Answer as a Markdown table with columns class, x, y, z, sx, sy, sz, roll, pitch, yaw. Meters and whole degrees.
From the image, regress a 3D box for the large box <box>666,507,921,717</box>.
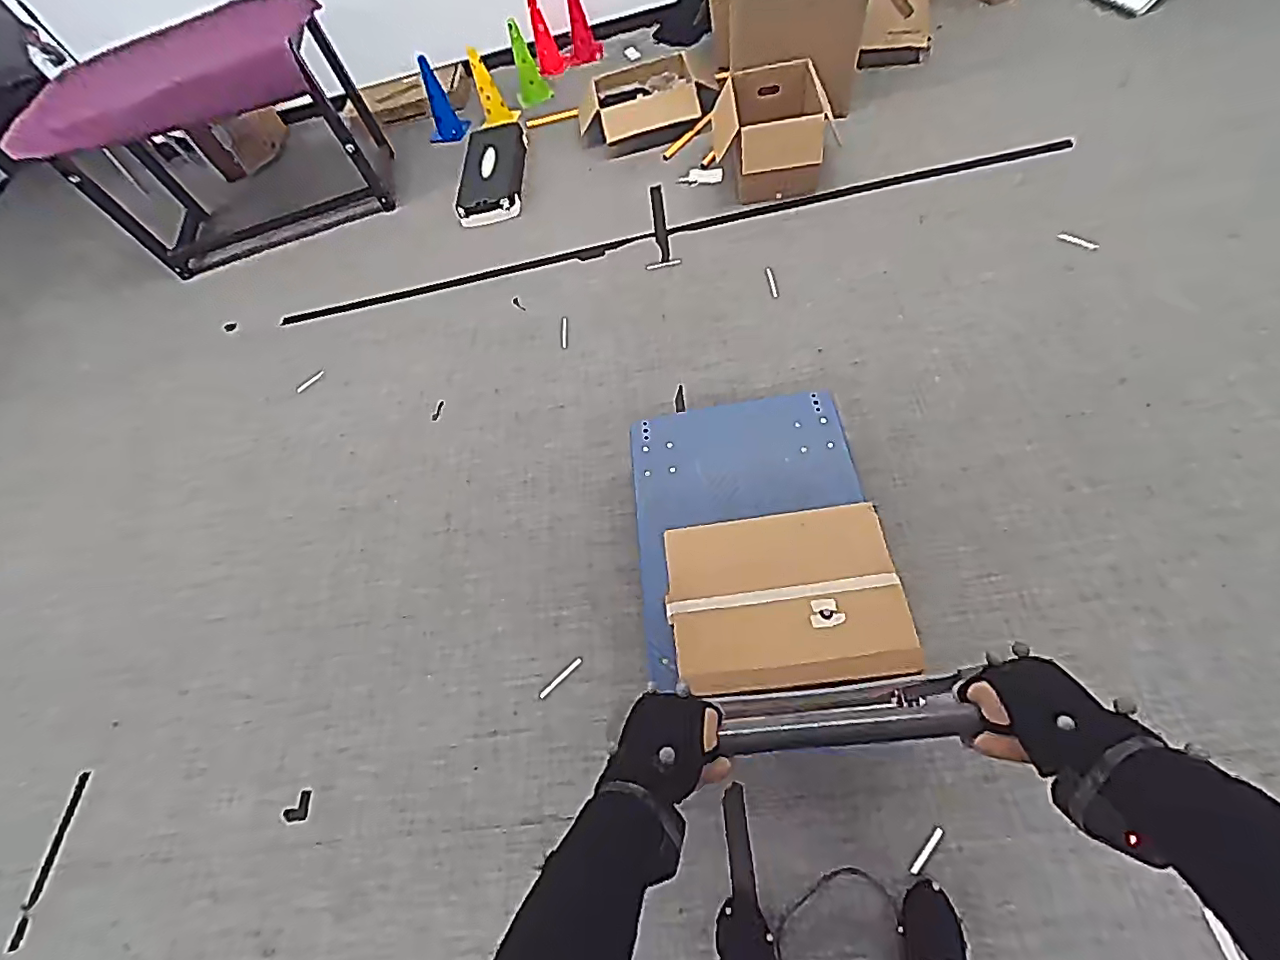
| class | x | y | z | sx | sy | sz | roll | pitch | yaw |
| --- | --- | --- | --- | --- | --- | --- | --- | --- | --- |
| large box | 0.283 | 0.288 | 1.114 | 0.408 | 0.320 | 0.320 | -9 | 61 | 6 |
